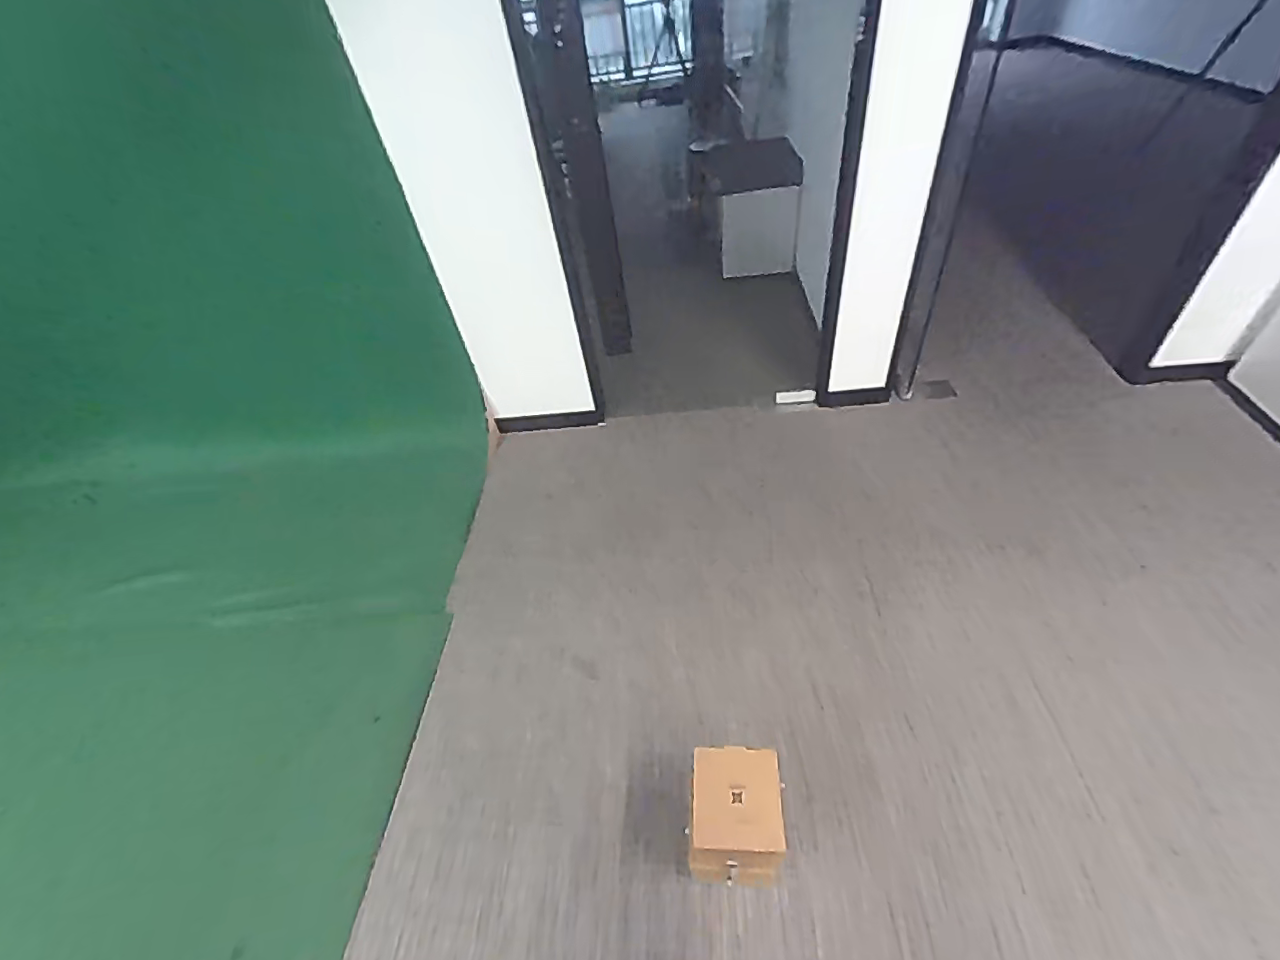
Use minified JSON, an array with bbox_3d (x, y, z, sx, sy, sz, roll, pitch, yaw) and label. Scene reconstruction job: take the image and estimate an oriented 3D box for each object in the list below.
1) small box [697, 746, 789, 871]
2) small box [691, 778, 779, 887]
[{"bbox_3d":[0.201,0.655,1.082,0.168,0.176,0.179,-3,45,9],"label":"small box"},{"bbox_3d":[0.207,0.776,1.189,0.179,0.176,0.168,-3,44,10],"label":"small box"}]
